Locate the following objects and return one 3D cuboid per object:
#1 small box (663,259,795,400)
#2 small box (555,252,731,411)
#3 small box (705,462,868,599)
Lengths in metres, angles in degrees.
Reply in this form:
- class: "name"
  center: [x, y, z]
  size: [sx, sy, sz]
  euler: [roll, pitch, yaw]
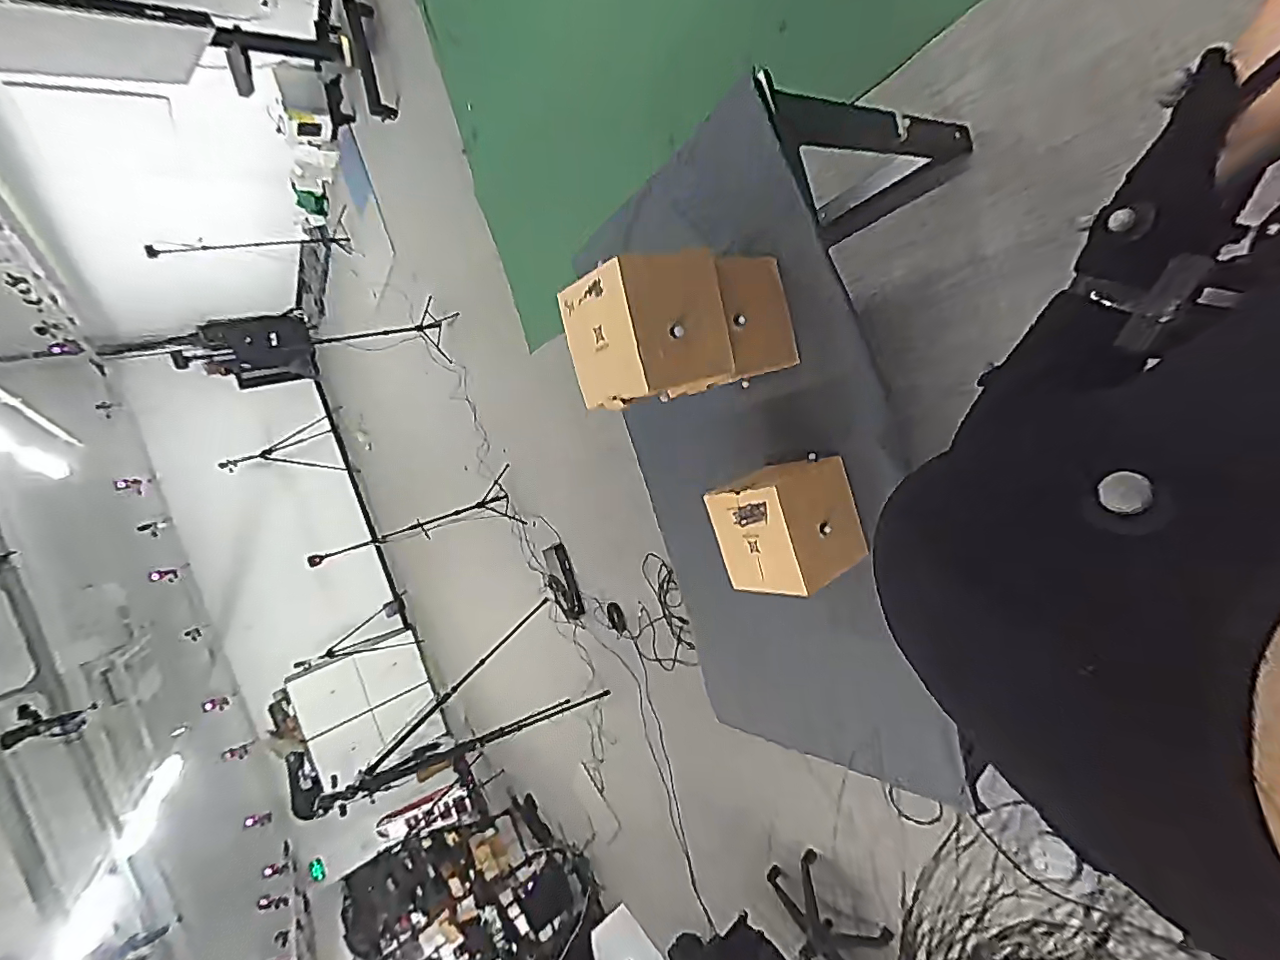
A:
- class: "small box"
  center: [0.128, -0.244, 0.883]
  size: [0.168, 0.176, 0.179]
  euler: [-6, 101, 54]
- class: "small box"
  center: [0.008, -0.209, 0.775]
  size: [0.168, 0.176, 0.179]
  euler: [-1, 106, 54]
- class: "small box"
  center: [0.242, 0.076, 0.890]
  size: [0.168, 0.176, 0.179]
  euler: [-11, 100, 56]
